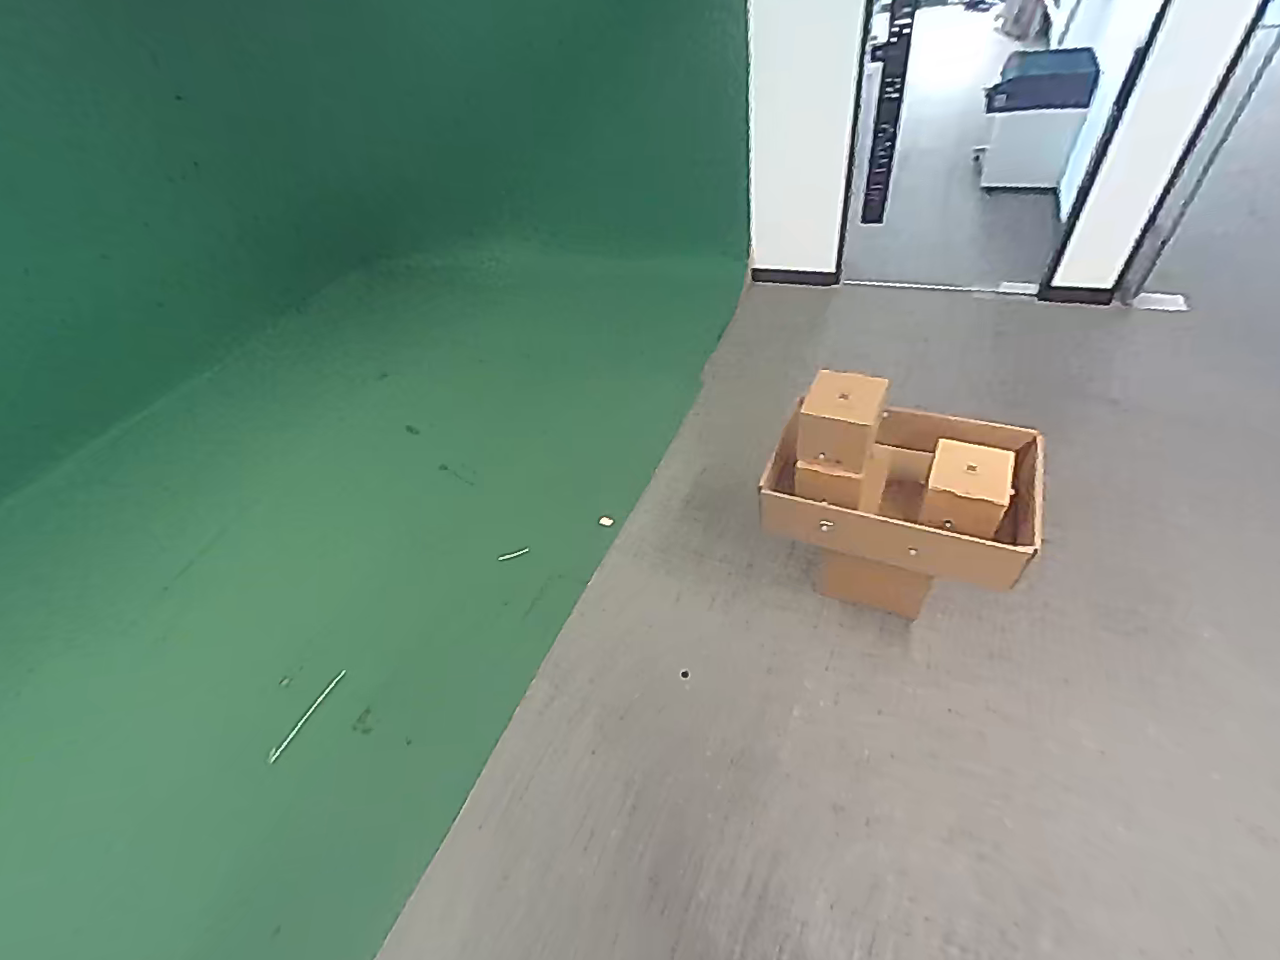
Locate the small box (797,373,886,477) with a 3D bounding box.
[{"bbox_3d":[0.496,-0.137,1.345,0.168,0.176,0.179,16,52,26],"label":"small box"}]
